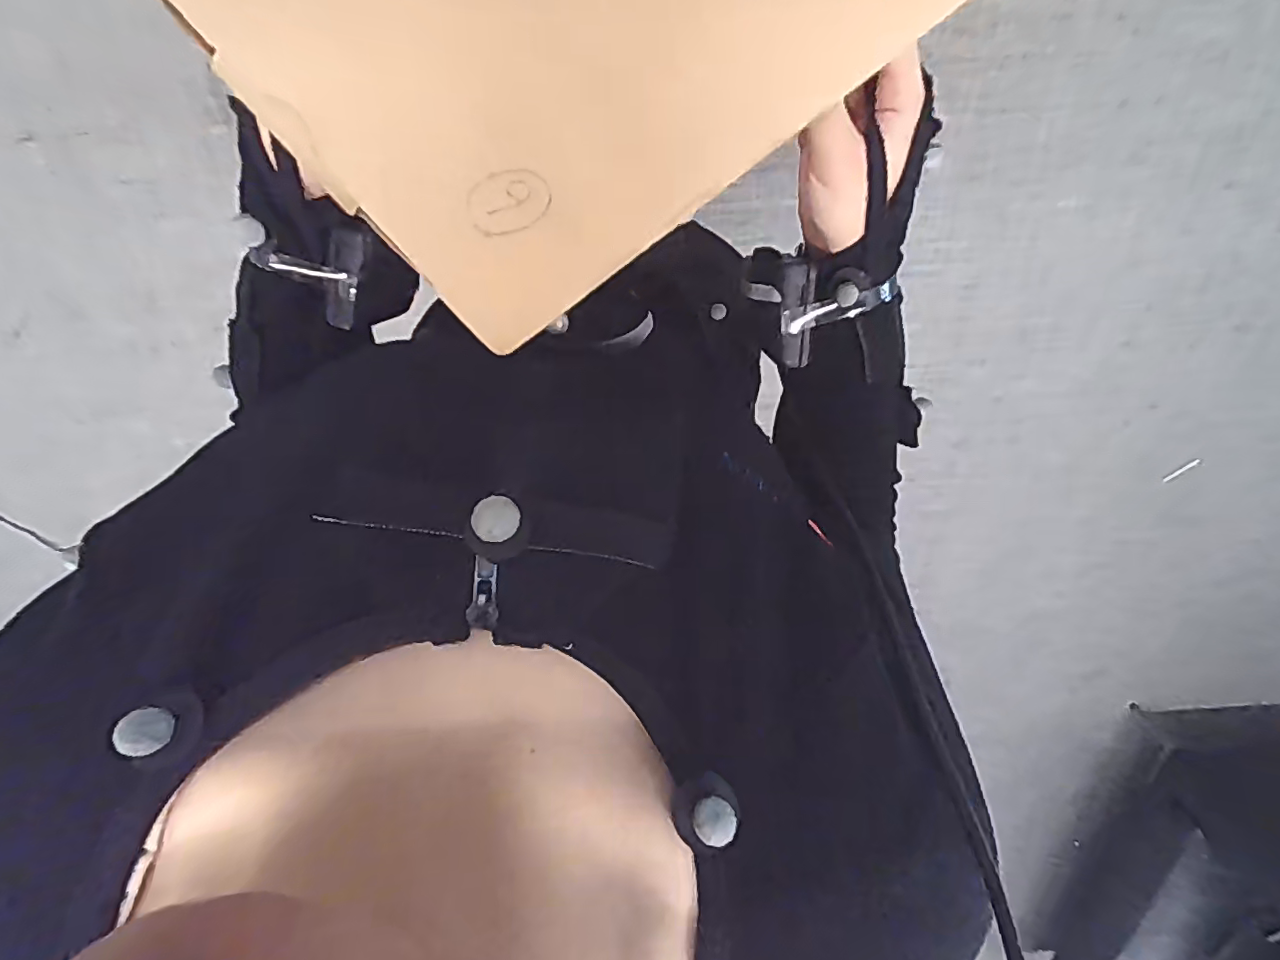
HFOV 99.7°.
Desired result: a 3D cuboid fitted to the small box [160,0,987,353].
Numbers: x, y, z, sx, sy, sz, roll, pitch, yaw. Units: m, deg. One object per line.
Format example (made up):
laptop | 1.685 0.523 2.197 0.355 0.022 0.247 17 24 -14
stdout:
small box | -0.023 -0.181 0.183 0.179 0.176 0.168 -28 120 24
